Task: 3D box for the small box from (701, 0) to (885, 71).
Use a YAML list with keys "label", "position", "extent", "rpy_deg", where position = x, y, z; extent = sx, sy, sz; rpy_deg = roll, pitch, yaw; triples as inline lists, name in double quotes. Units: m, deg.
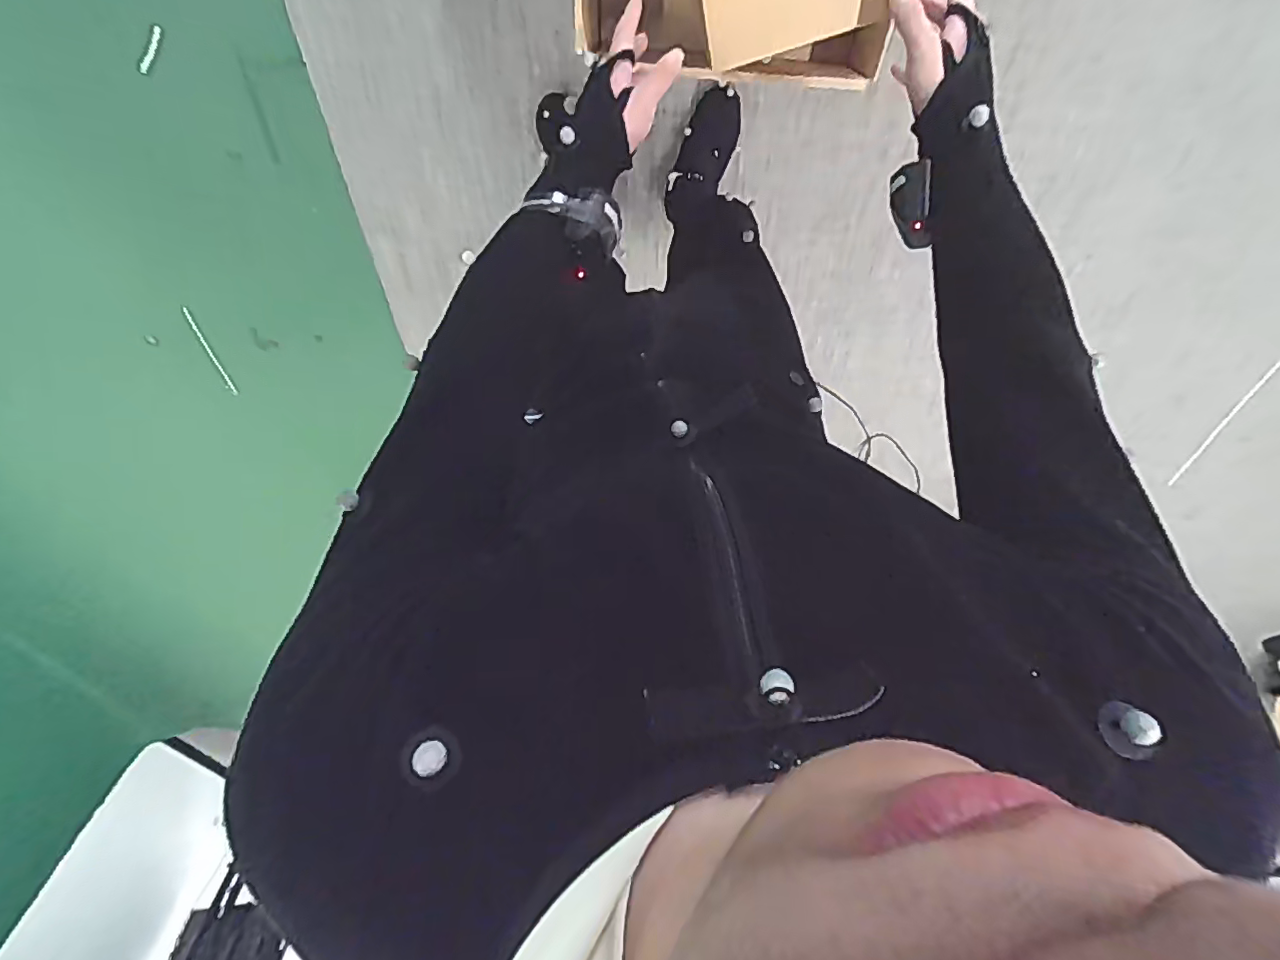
- label: "small box"
  position: [0.135, -0.537, 0.522]
  extent: [0.168, 0.176, 0.179]
  rpy_deg: [-9, 133, 14]
